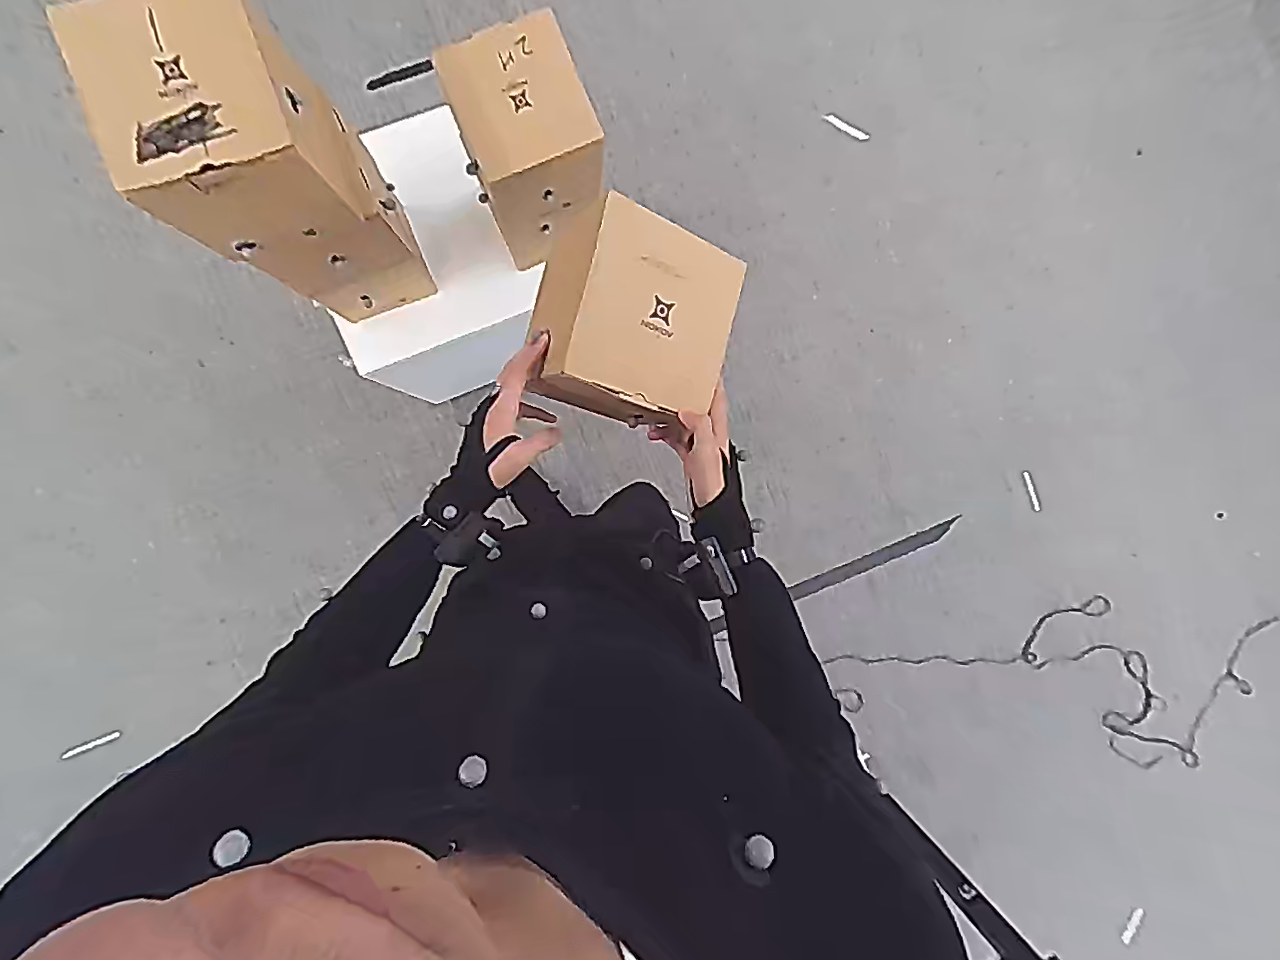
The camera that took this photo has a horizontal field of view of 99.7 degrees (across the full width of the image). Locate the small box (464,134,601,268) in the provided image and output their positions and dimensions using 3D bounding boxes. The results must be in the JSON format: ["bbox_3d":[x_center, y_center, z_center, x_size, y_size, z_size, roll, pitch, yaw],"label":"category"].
[{"bbox_3d":[-0.176,-0.498,0.928,0.168,0.176,0.179,-25,95,-3],"label":"small box"}]

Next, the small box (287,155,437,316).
[{"bbox_3d":[-0.464,-0.390,0.902,0.168,0.176,0.179,-22,94,-6],"label":"small box"}]

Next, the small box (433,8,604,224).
[{"bbox_3d":[-0.158,-0.490,0.764,0.168,0.176,0.179,-24,95,-4],"label":"small box"}]

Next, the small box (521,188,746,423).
[{"bbox_3d":[-0.017,-0.168,0.588,0.168,0.176,0.179,14,89,-29],"label":"small box"}]

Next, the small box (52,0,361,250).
[{"bbox_3d":[-0.431,-0.367,0.575,0.168,0.176,0.179,-19,94,-5],"label":"small box"}]
